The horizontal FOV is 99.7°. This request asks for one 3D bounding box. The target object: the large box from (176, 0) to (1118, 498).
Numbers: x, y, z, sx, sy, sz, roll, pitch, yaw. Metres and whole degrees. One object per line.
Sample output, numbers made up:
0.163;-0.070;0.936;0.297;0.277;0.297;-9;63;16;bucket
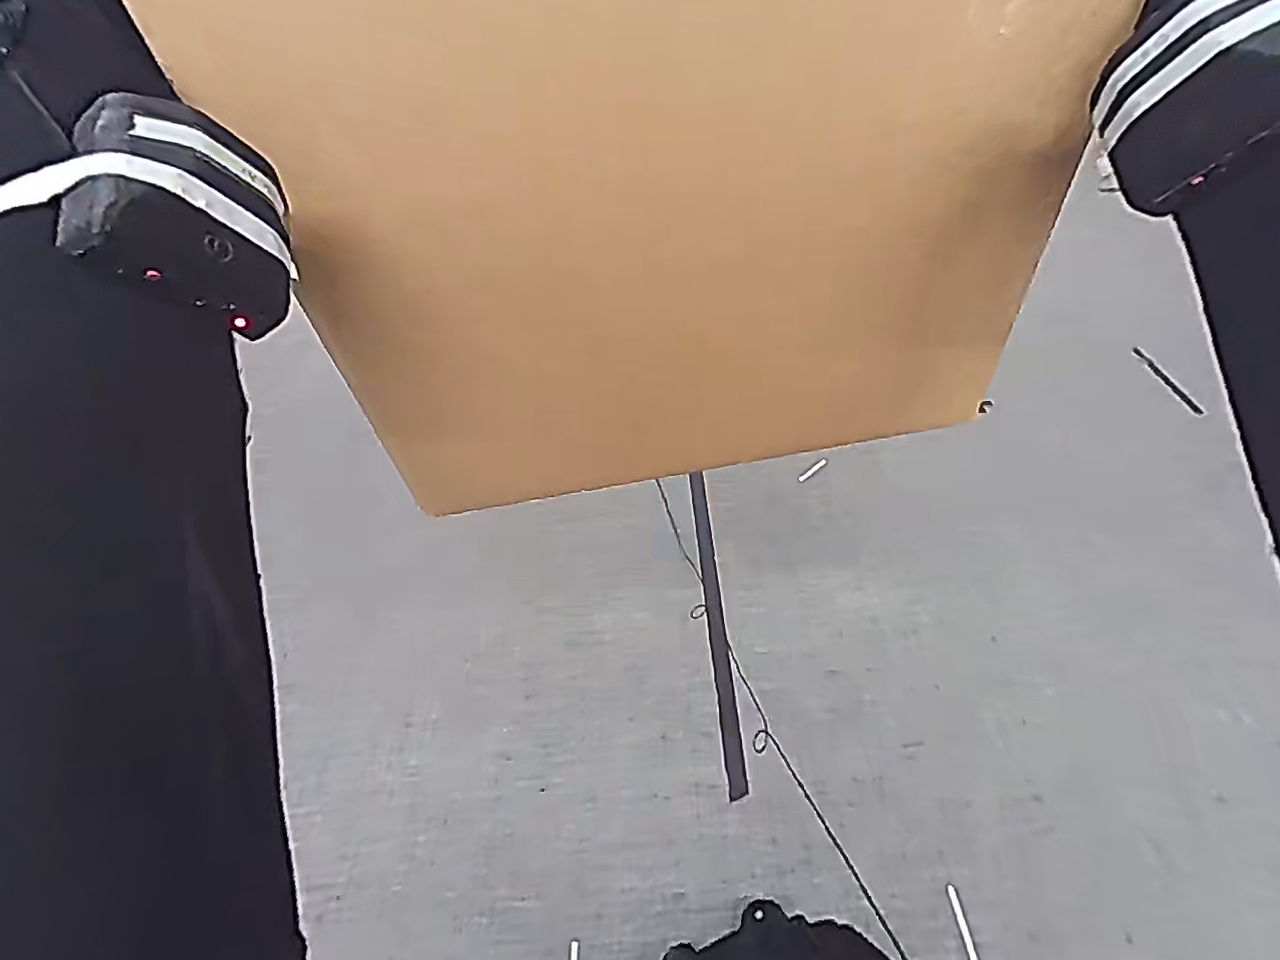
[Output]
0.009;-0.224;0.397;0.408;0.320;0.320;-9;45;-2;large box
